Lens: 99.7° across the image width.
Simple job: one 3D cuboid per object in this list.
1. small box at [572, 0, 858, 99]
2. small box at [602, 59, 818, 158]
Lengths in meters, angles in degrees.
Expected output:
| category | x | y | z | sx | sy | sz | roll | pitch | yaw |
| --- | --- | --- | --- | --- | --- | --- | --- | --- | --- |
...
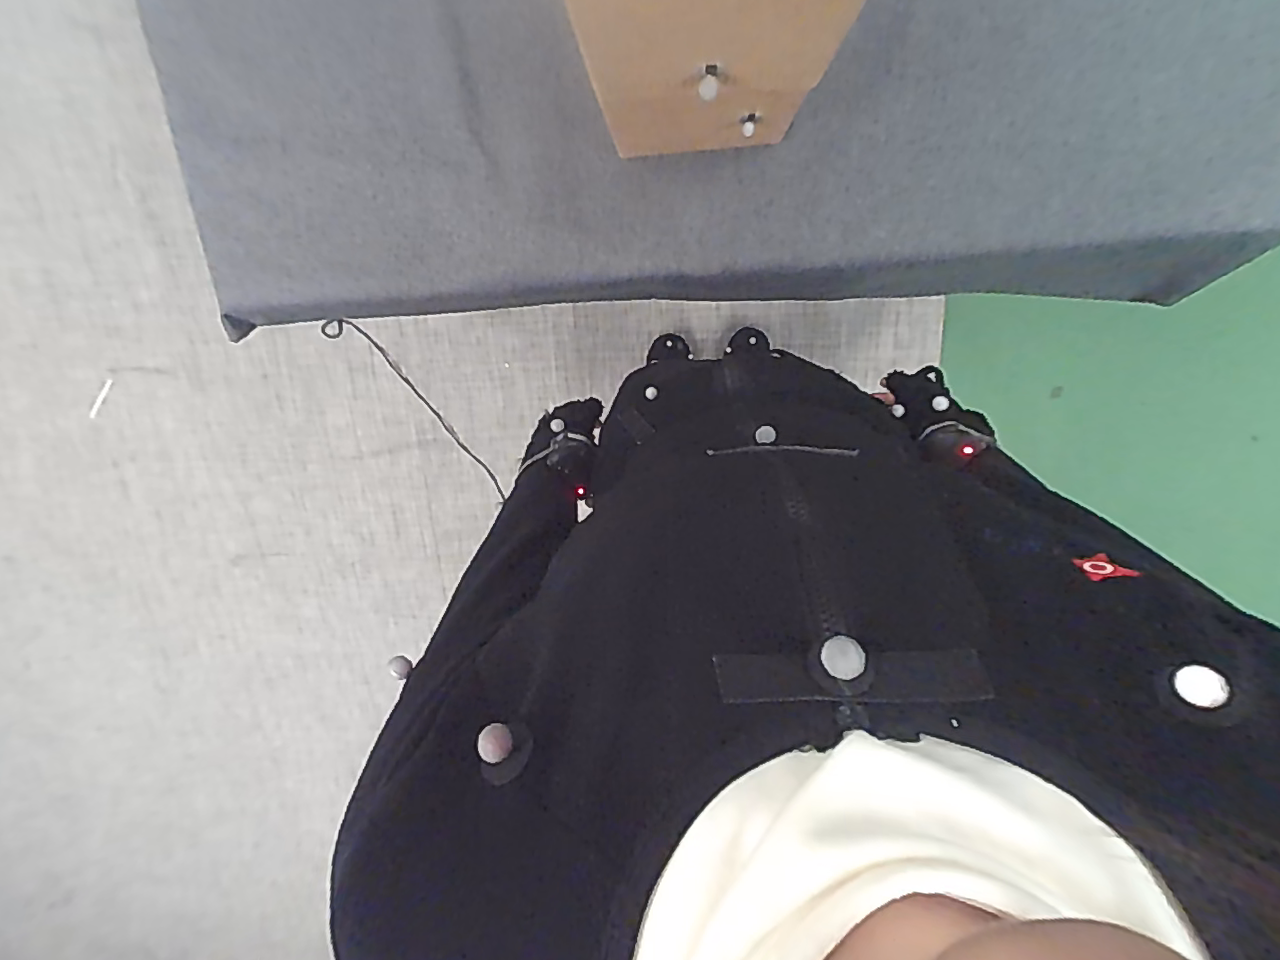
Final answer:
| category | x | y | z | sx | sy | sz | roll | pitch | yaw |
| --- | --- | --- | --- | --- | --- | --- | --- | --- | --- |
| small box | 0.046 | -0.368 | 0.337 | 0.179 | 0.176 | 0.168 | -2 | 105 | 4 |
| small box | 0.055 | -0.415 | 0.493 | 0.179 | 0.176 | 0.168 | -3 | 105 | 6 |
